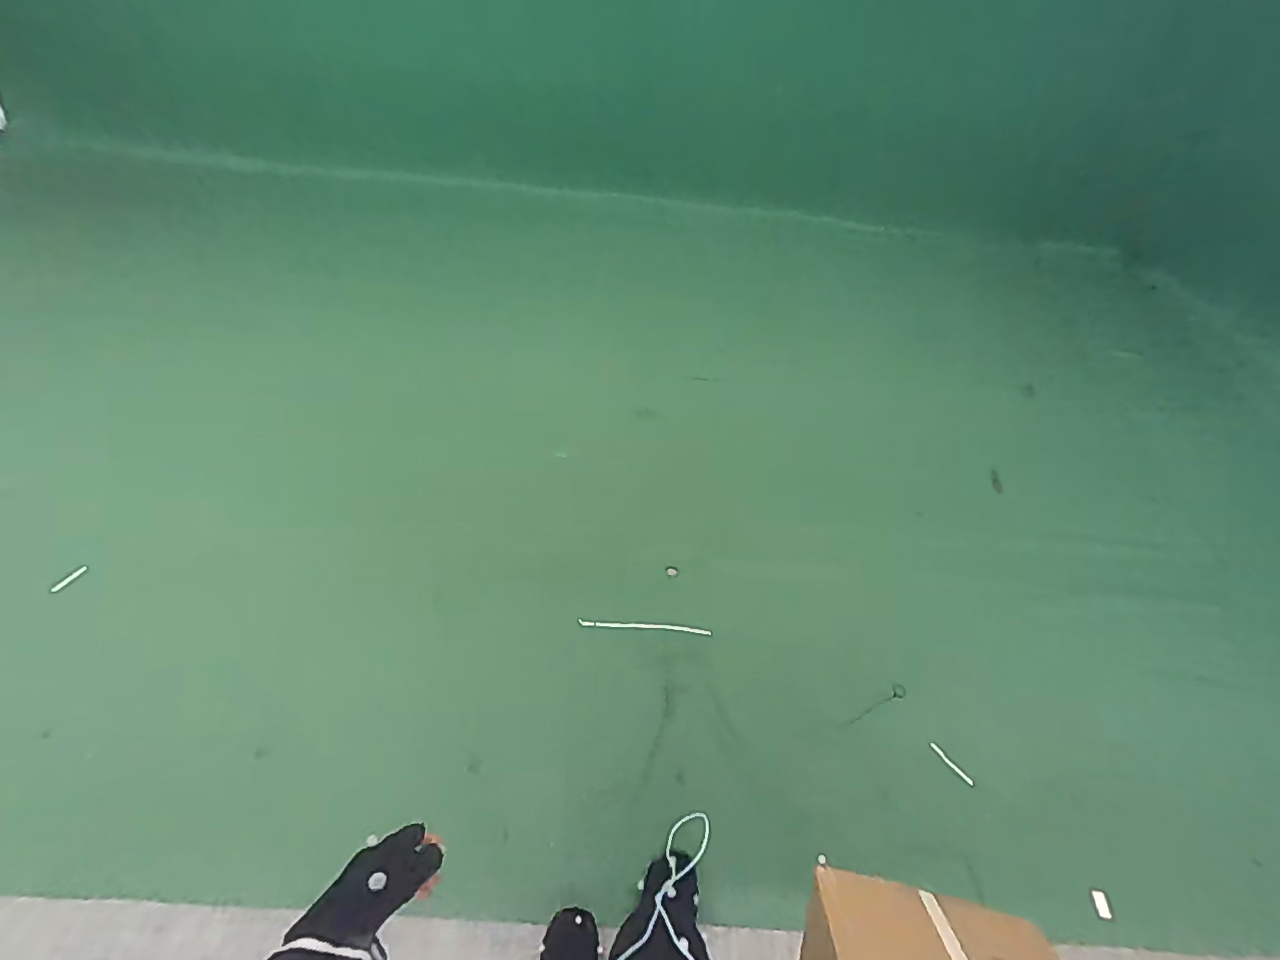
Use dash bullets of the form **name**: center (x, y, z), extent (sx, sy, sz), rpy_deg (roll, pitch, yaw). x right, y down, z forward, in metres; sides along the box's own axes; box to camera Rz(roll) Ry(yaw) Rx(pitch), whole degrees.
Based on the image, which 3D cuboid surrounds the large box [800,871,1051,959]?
- **large box**: center (0.364, 0.769, 0.611), extent (0.320, 0.408, 0.320), rpy_deg (11, 92, 8)
